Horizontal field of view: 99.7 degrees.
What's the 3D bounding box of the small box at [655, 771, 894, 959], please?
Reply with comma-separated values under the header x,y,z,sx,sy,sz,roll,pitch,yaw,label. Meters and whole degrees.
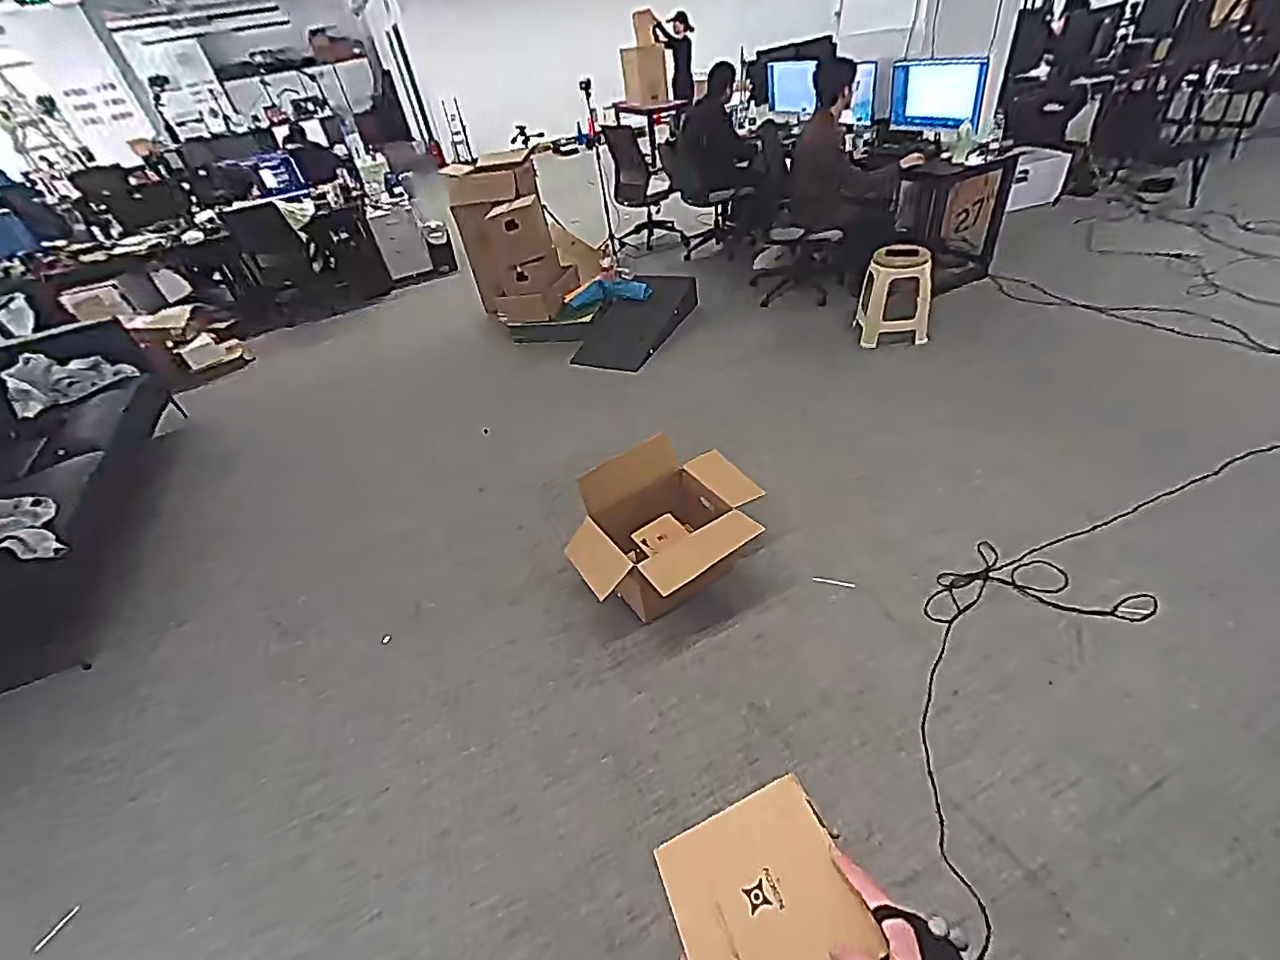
x,y,z,sx,sy,sz,roll,pitch,yaw,label
0.141,0.451,0.564,0.179,0.176,0.168,-27,34,-1,small box
